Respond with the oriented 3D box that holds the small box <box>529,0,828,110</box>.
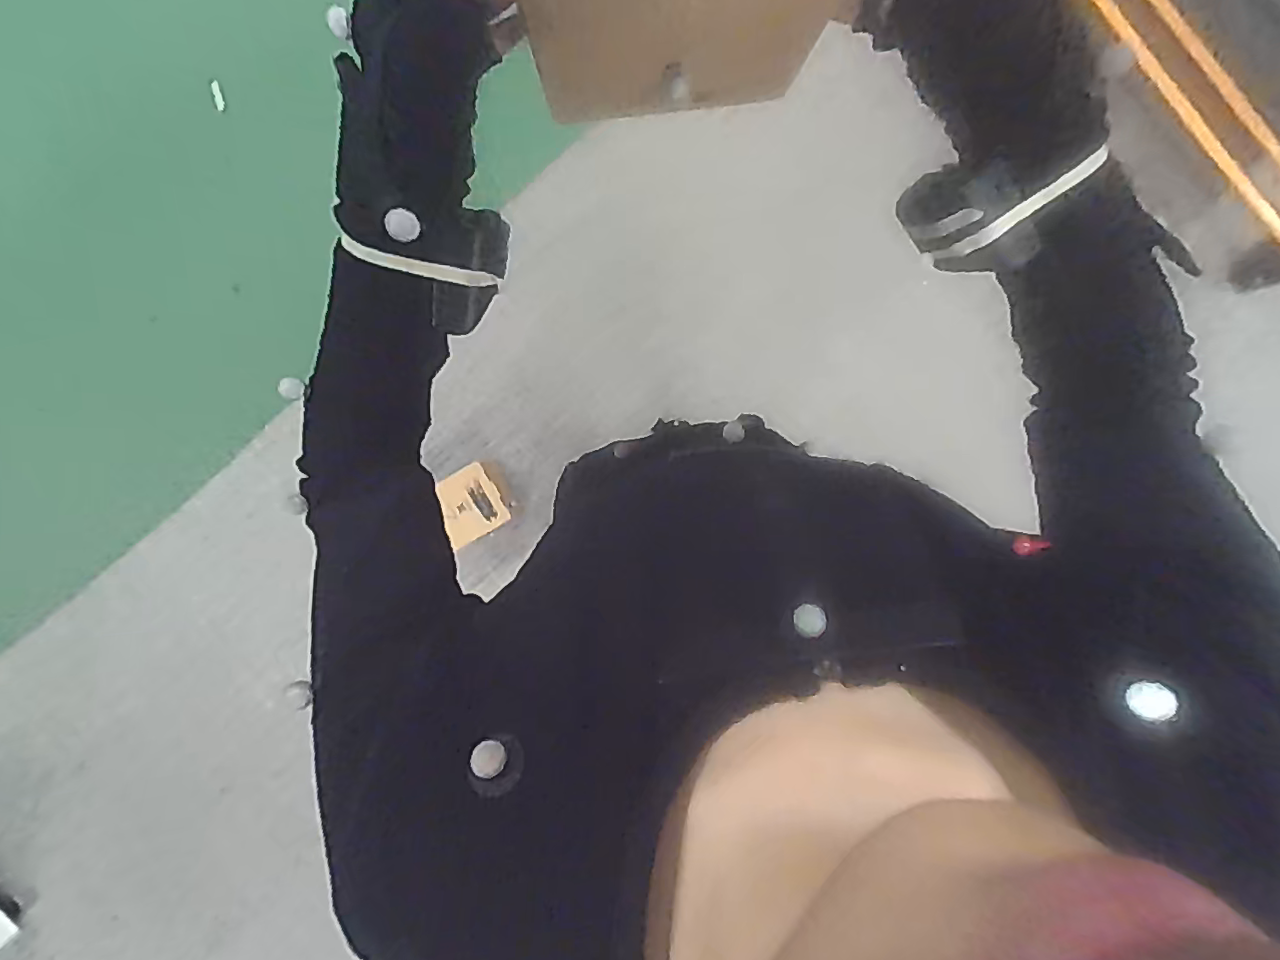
[{"bbox_3d":[0.015,-0.335,0.284,0.168,0.176,0.179,-5,101,1],"label":"small box"}]
